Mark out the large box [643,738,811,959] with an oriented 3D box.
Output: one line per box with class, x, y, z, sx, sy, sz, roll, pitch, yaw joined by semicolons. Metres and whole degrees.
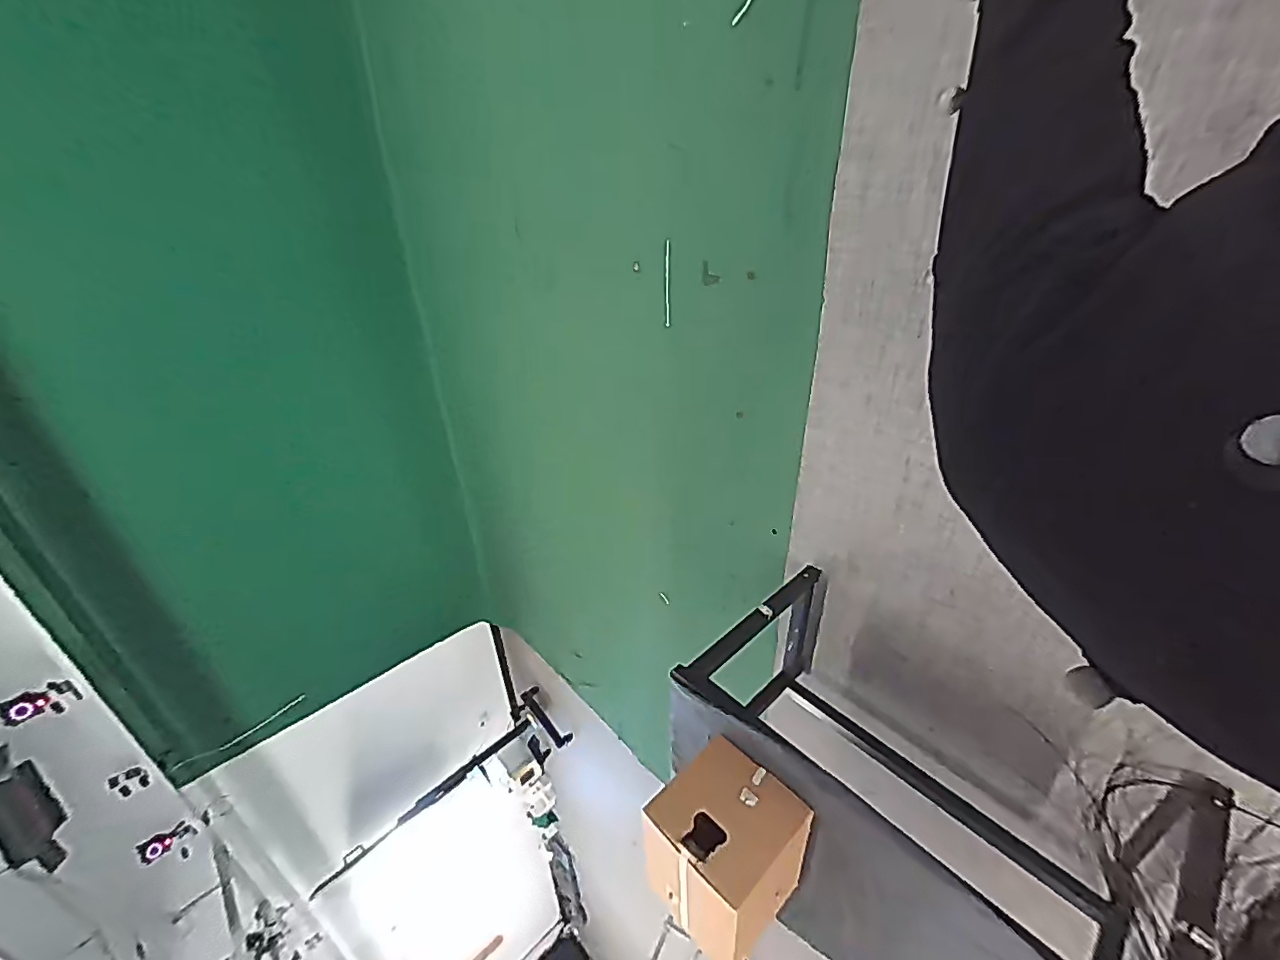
large box;0.232;0.999;1.449;0.320;0.320;0.408;27;132;41
